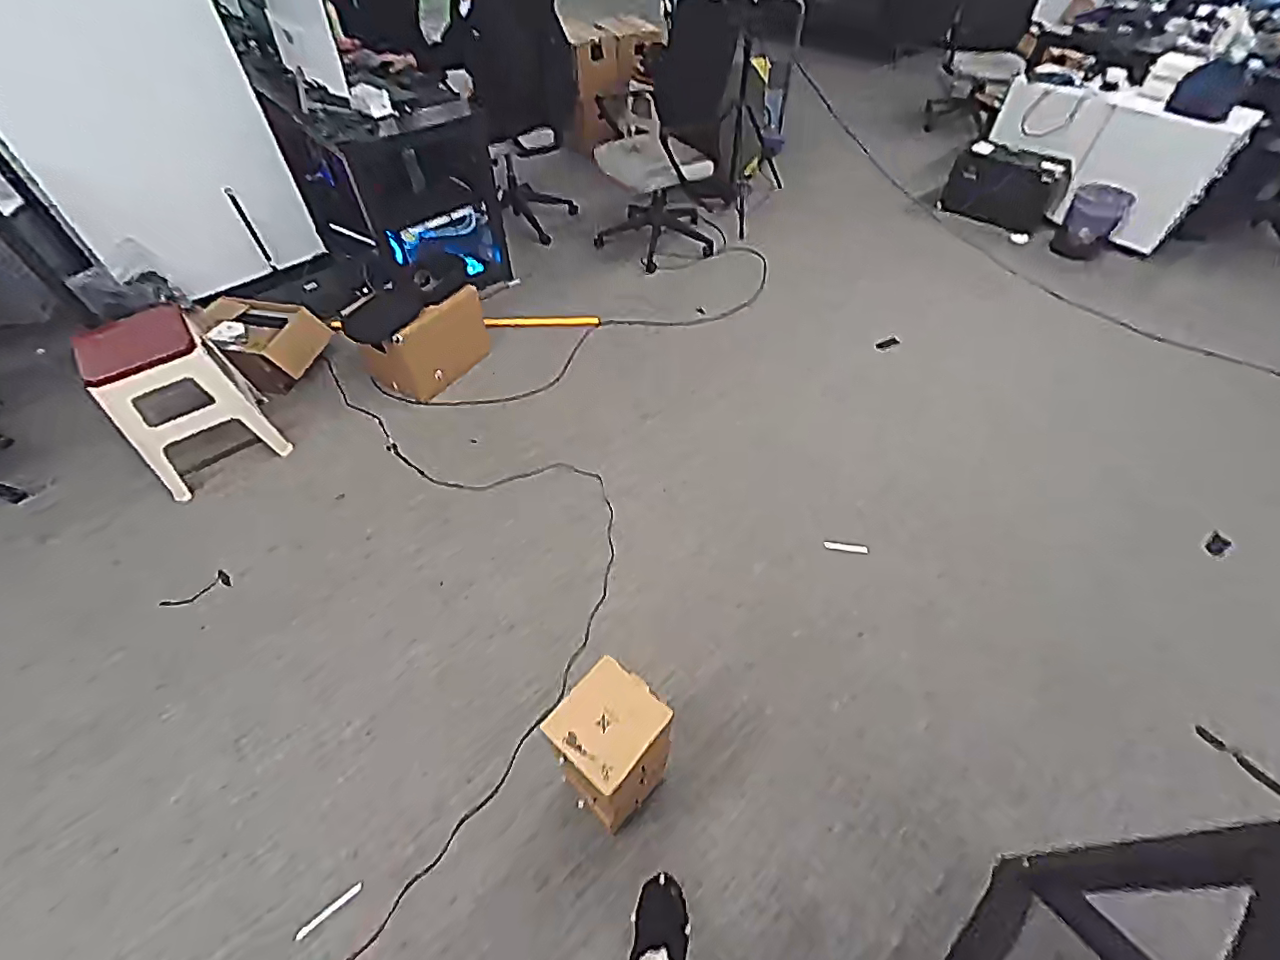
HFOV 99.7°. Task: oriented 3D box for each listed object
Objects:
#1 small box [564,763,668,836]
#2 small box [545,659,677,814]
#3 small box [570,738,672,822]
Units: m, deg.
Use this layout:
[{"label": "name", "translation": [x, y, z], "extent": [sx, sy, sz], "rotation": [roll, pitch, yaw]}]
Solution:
[{"label": "small box", "translation": [-0.055, 0.684, 1.254], "extent": [0.179, 0.176, 0.168], "rotation": [-37, 59, -25]}, {"label": "small box", "translation": [-0.053, 0.475, 1.002], "extent": [0.168, 0.176, 0.179], "rotation": [34, 57, 25]}, {"label": "small box", "translation": [-0.051, 0.577, 1.133], "extent": [0.168, 0.176, 0.179], "rotation": [36, 57, 24]}]
